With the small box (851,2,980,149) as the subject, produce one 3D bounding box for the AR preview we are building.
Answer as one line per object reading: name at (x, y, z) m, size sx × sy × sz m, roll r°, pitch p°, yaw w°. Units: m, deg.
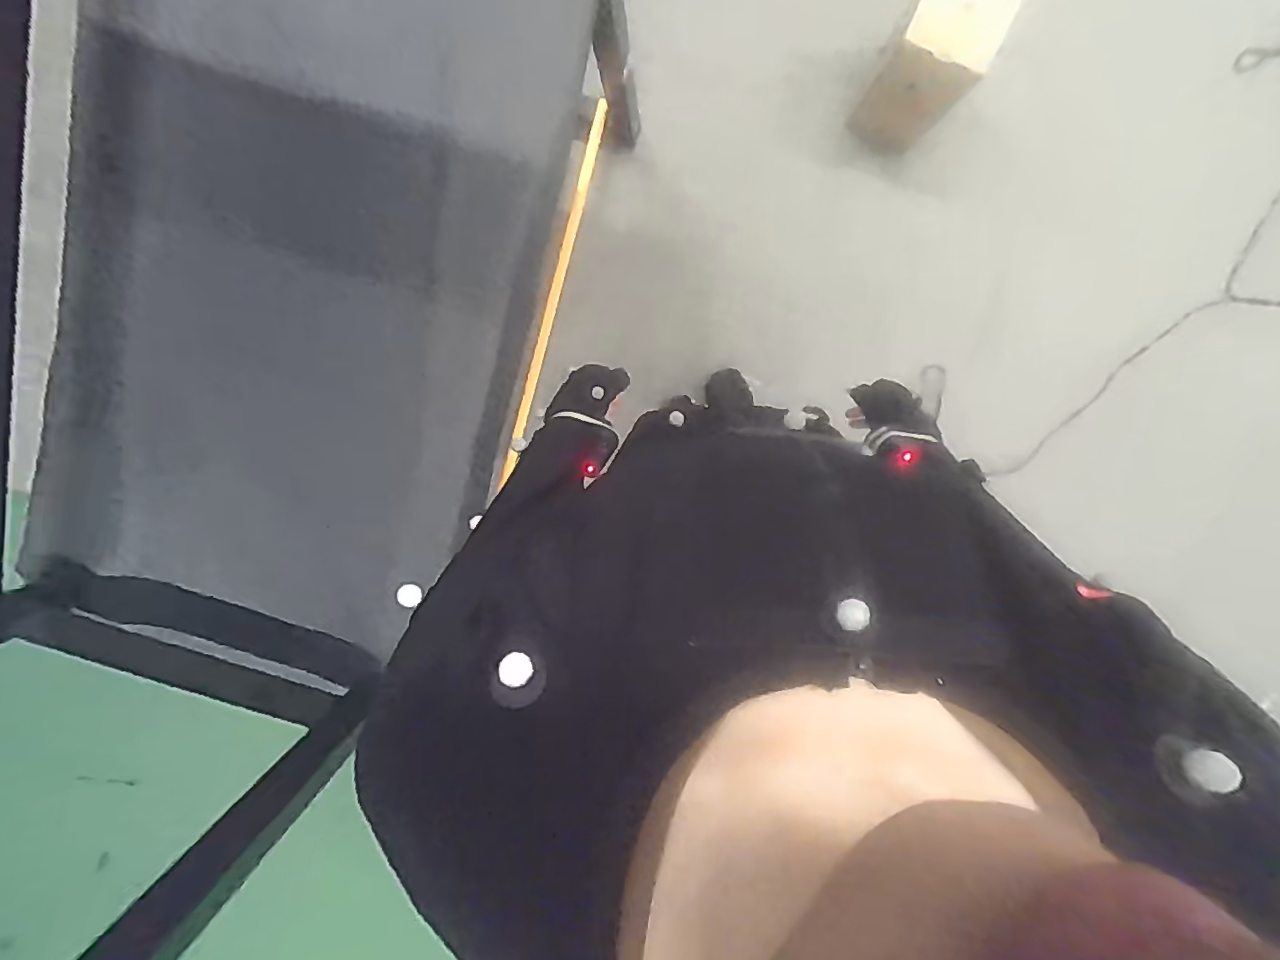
small box at (0.595, -0.883, 1.198) m, size 0.168 × 0.176 × 0.179 m, roll 23°, pitch 102°, yaw 0°
